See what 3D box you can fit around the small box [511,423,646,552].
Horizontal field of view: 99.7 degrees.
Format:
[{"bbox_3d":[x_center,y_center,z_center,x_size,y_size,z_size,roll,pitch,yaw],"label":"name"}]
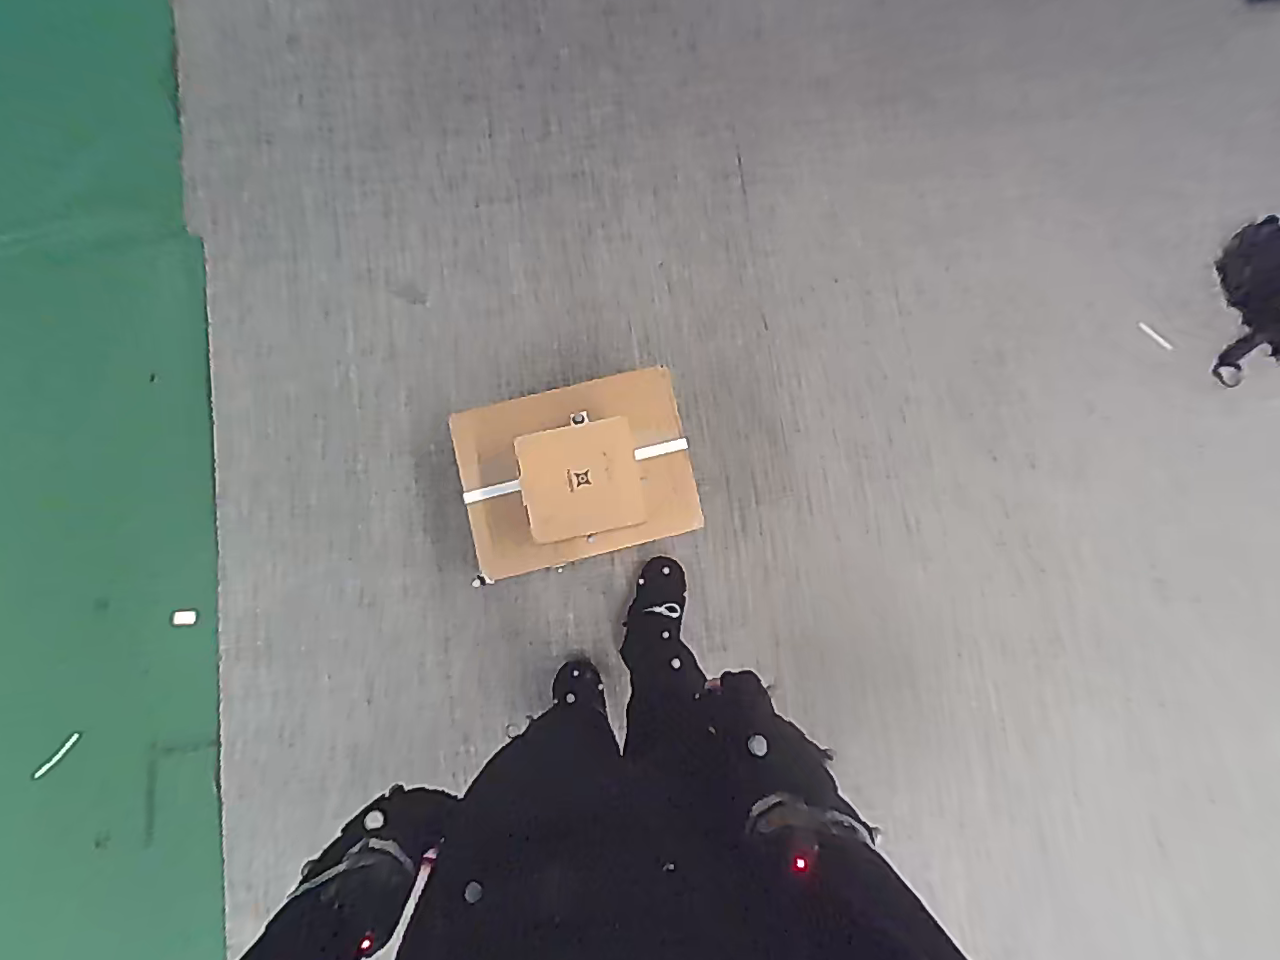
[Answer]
[{"bbox_3d":[-0.092,0.019,0.872,0.179,0.176,0.168,-12,85,-4],"label":"small box"}]
